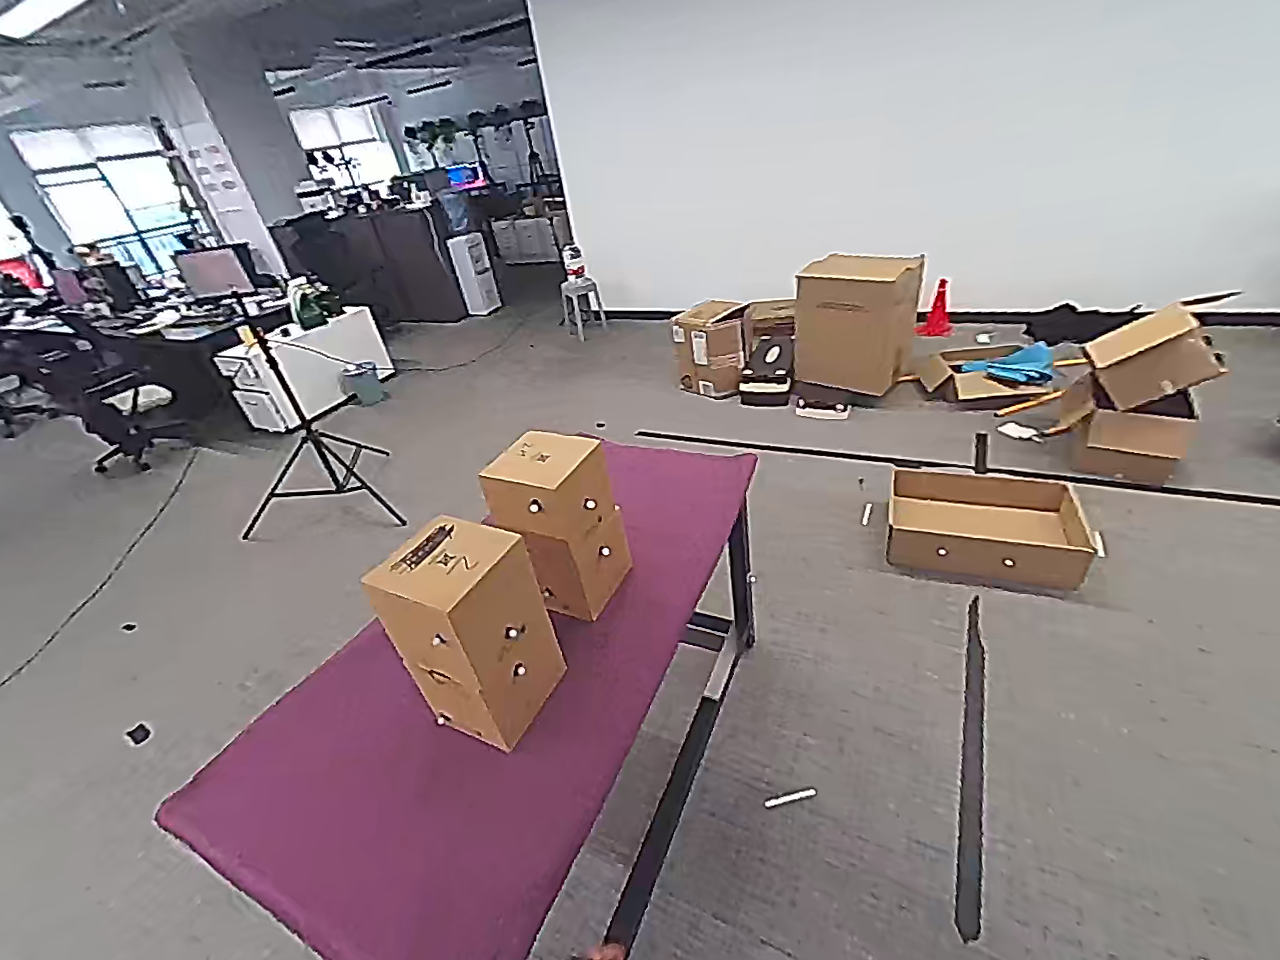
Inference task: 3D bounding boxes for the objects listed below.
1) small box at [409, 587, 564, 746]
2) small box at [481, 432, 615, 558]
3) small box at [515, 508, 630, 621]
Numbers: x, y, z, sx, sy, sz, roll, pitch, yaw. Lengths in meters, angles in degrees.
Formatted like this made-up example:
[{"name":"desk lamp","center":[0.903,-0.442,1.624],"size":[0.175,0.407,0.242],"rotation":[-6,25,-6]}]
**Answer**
[{"name":"small box","center":[-0.251,0.318,0.930],"size":[0.168,0.176,0.179],"rotation":[9,37,26]},{"name":"small box","center":[-0.166,0.028,1.045],"size":[0.179,0.176,0.168],"rotation":[9,38,27]},{"name":"small box","center":[-0.132,0.161,1.137],"size":[0.168,0.176,0.179],"rotation":[9,39,27]}]
